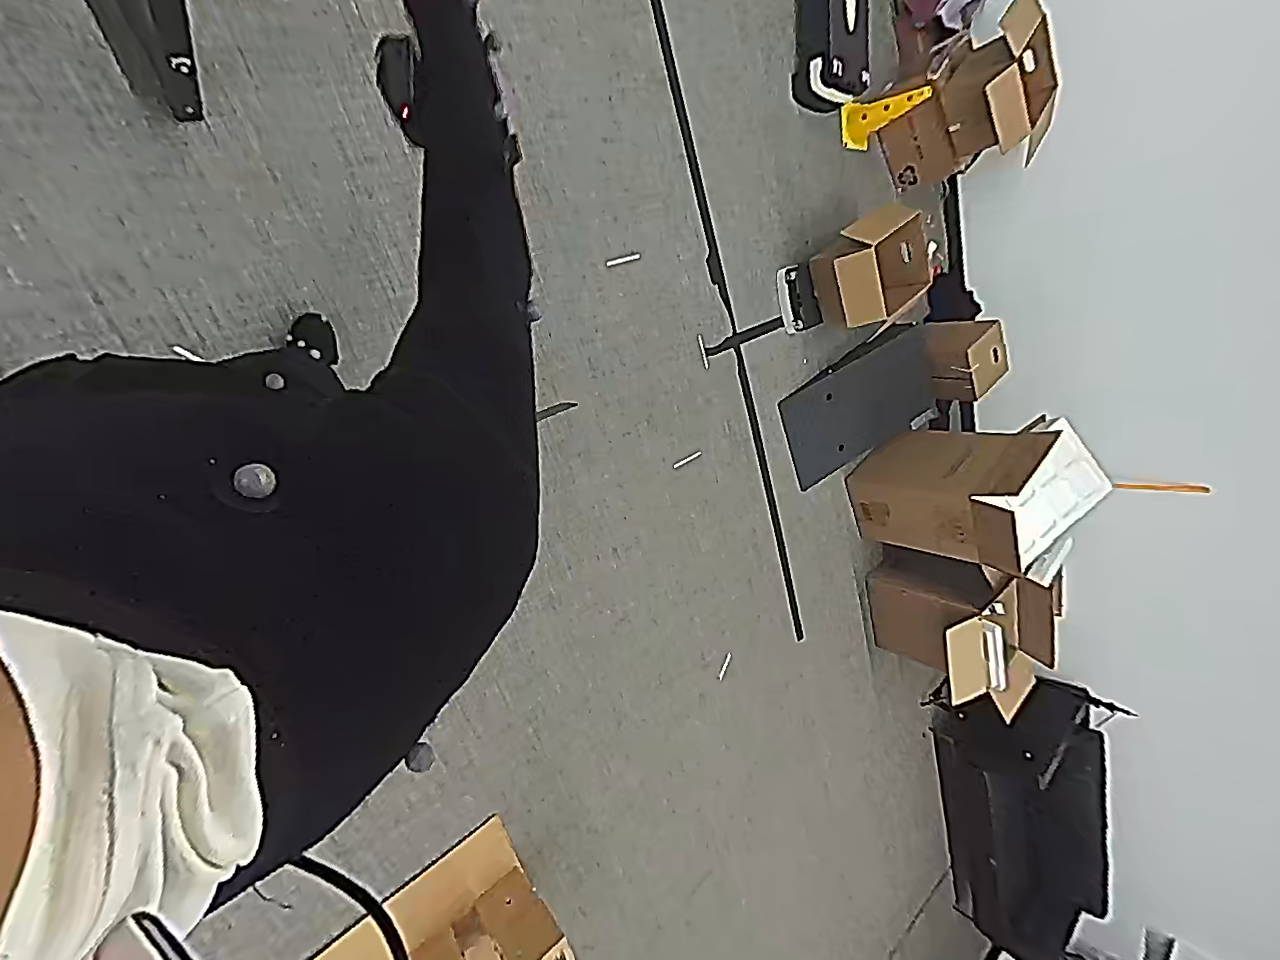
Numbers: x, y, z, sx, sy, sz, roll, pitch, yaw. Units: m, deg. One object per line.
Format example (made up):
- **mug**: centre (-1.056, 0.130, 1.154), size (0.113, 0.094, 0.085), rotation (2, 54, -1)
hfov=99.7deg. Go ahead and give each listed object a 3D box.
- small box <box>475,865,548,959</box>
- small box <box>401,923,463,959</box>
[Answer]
- **small box**: centre (-0.450, 1.499, 1.866), size (0.179, 0.176, 0.168), rotation (-28, 113, -32)
- **small box**: centre (-0.656, 1.594, 1.727), size (0.179, 0.176, 0.168), rotation (-26, 111, -32)
